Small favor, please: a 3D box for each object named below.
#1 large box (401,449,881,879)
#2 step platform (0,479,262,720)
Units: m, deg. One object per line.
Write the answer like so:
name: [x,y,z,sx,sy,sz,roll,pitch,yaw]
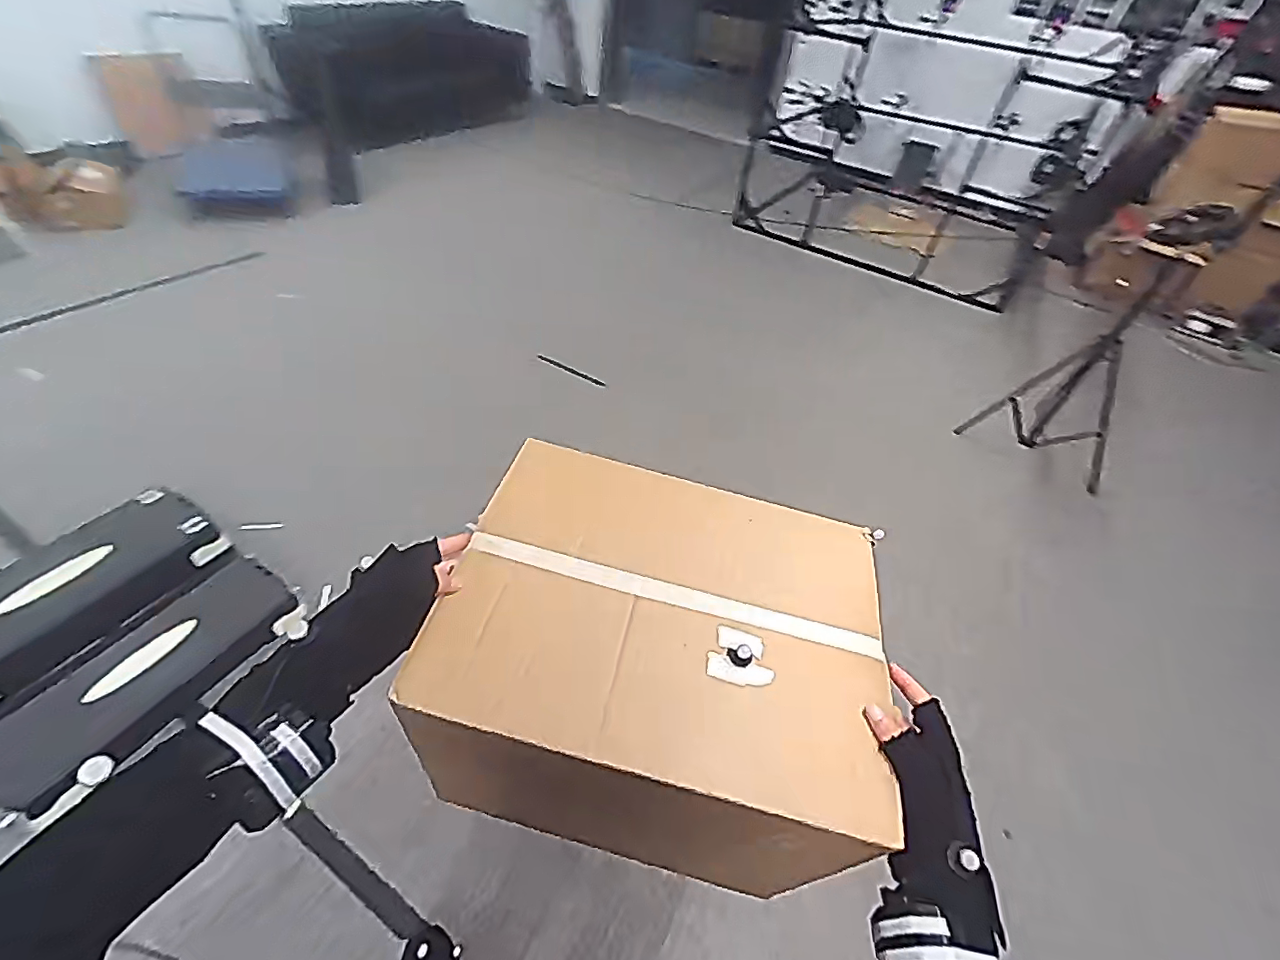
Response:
large box: [0.001,0.216,0.635,0.408,0.320,0.320,15,47,1]
step platform: [-1.464,0.285,1.486,0.286,0.204,0.684,26,46,16]
